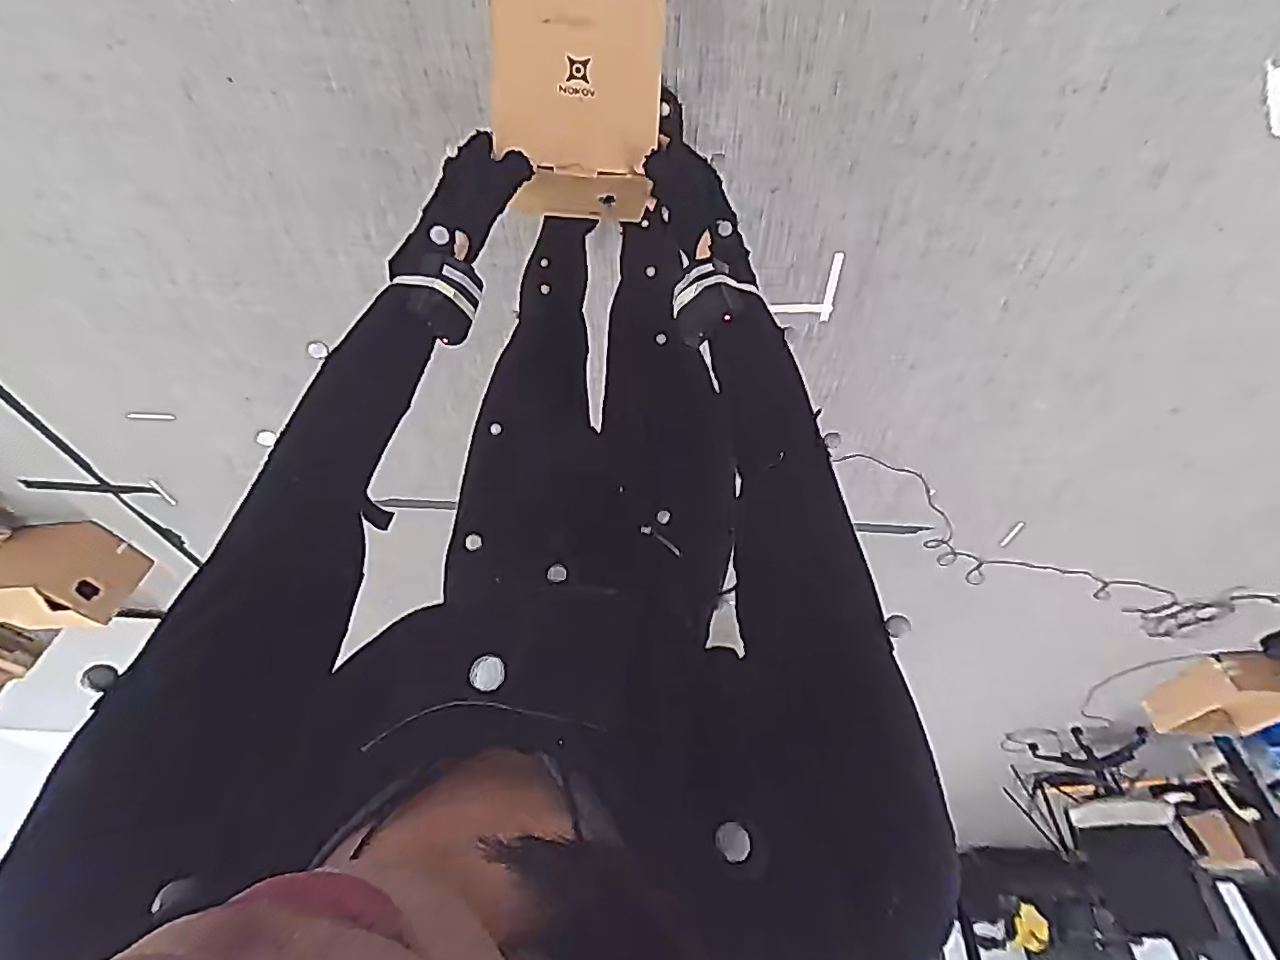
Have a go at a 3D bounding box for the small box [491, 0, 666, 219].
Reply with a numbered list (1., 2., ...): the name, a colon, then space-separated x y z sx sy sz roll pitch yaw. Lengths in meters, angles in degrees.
1. small box: -0.070 -0.408 0.605 0.168 0.176 0.179 2 101 -8
